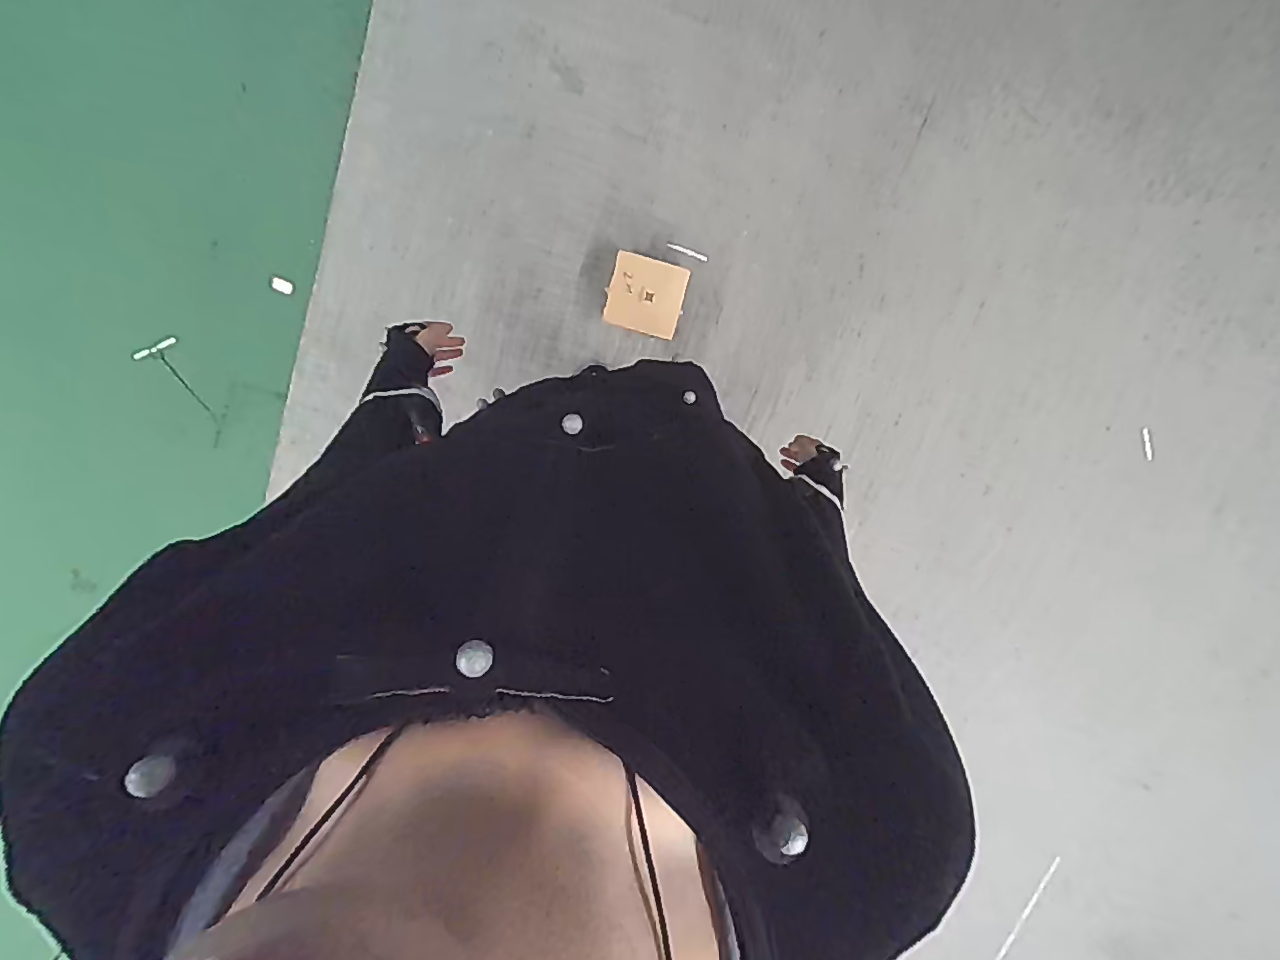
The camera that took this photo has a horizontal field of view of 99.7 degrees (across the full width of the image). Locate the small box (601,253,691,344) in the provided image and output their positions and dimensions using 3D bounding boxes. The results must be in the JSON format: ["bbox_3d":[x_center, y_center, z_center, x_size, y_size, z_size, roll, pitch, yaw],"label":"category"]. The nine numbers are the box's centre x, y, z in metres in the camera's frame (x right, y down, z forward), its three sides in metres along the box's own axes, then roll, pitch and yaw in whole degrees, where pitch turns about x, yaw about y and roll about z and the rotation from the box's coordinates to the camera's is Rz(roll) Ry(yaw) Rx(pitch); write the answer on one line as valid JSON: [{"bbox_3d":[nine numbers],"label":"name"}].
[{"bbox_3d":[0.012,-0.440,1.338,0.179,0.176,0.168,15,101,-4],"label":"small box"}]
